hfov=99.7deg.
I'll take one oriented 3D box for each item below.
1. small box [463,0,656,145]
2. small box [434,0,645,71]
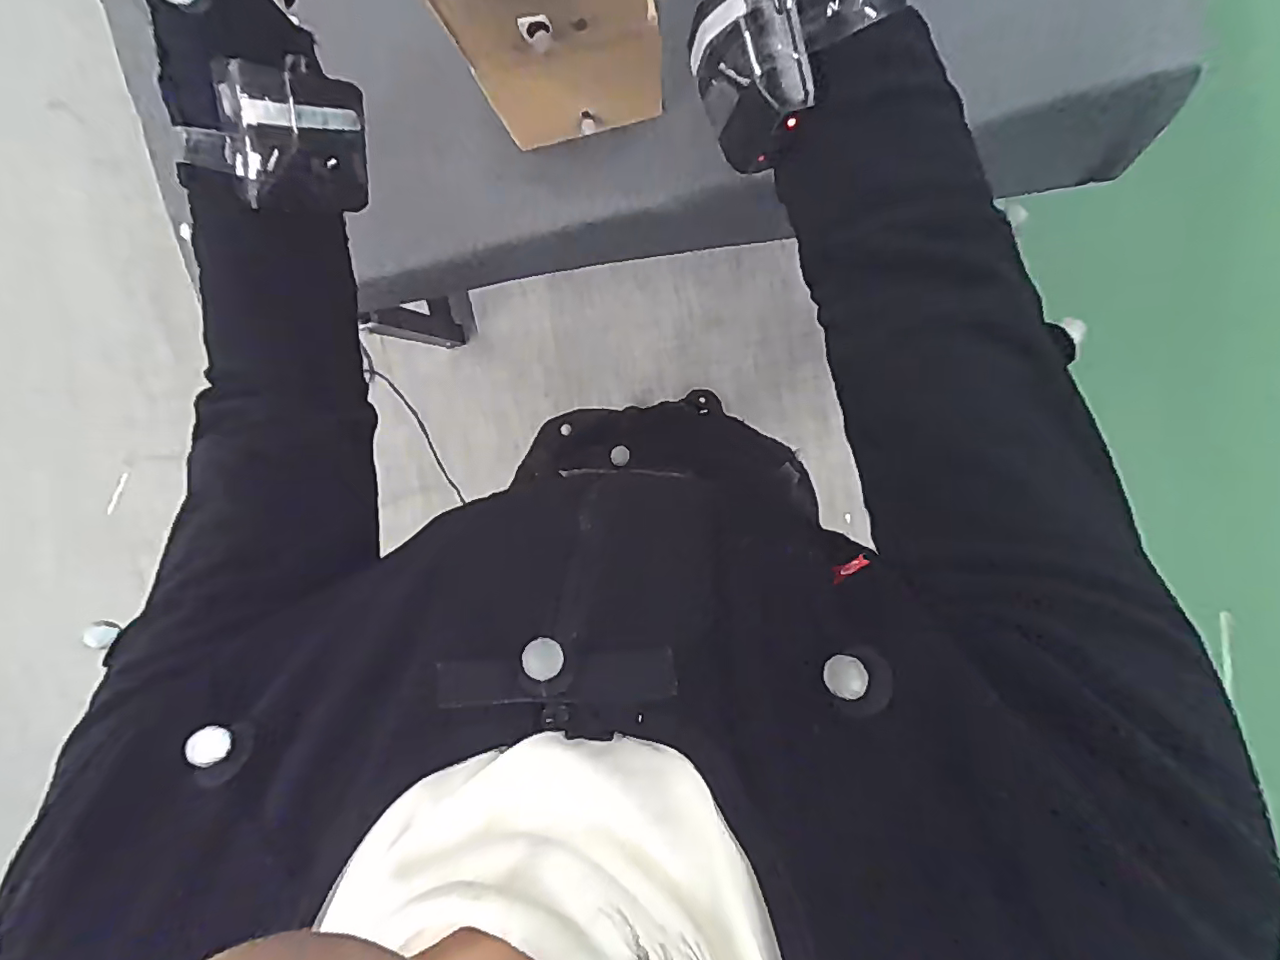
[{"bbox_3d":[-0.081,-0.480,0.552,0.179,0.176,0.168,-11,97,6],"label":"small box"},{"bbox_3d":[-0.097,-0.454,0.392,0.168,0.176,0.179,-11,99,8],"label":"small box"}]
